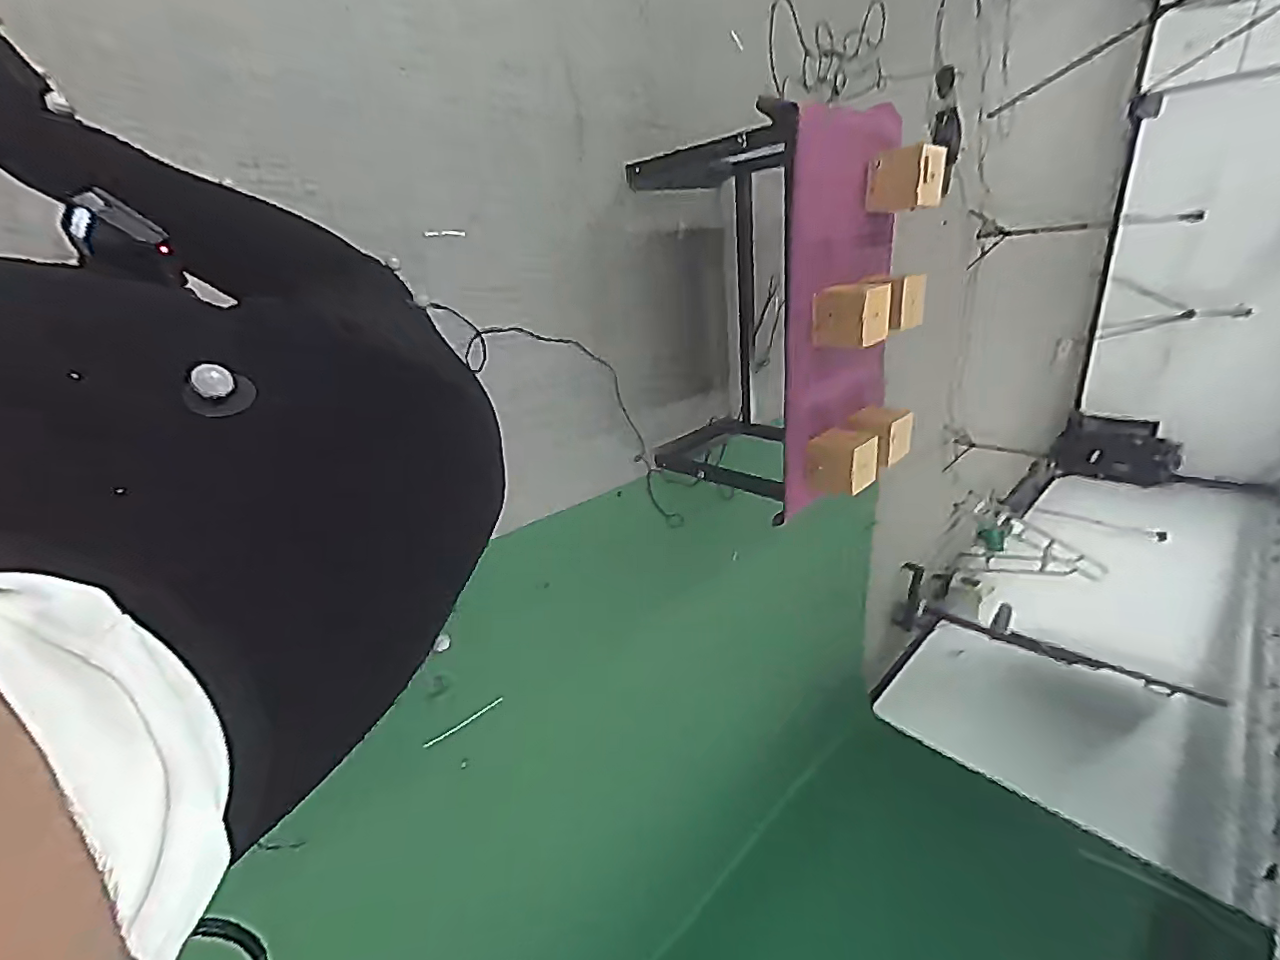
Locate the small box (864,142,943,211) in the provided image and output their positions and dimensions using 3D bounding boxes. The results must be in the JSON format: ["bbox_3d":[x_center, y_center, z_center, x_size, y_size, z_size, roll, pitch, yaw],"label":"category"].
[{"bbox_3d":[0.834,-0.960,1.724,0.179,0.176,0.168,-21,117,-38],"label":"small box"}]

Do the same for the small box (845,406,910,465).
[{"bbox_3d":[0.880,-0.172,2.014,0.179,0.176,0.168,-25,118,-37],"label":"small box"}]

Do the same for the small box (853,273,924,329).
[{"bbox_3d":[0.841,-0.611,1.845,0.179,0.176,0.168,-23,117,-37],"label":"small box"}]

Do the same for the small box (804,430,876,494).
[{"bbox_3d":[0.683,-0.068,1.848,0.179,0.176,0.168,-23,116,-39],"label":"small box"}]

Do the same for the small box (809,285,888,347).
[{"bbox_3d":[0.648,-0.516,1.684,0.179,0.176,0.168,-25,120,-37],"label":"small box"}]
